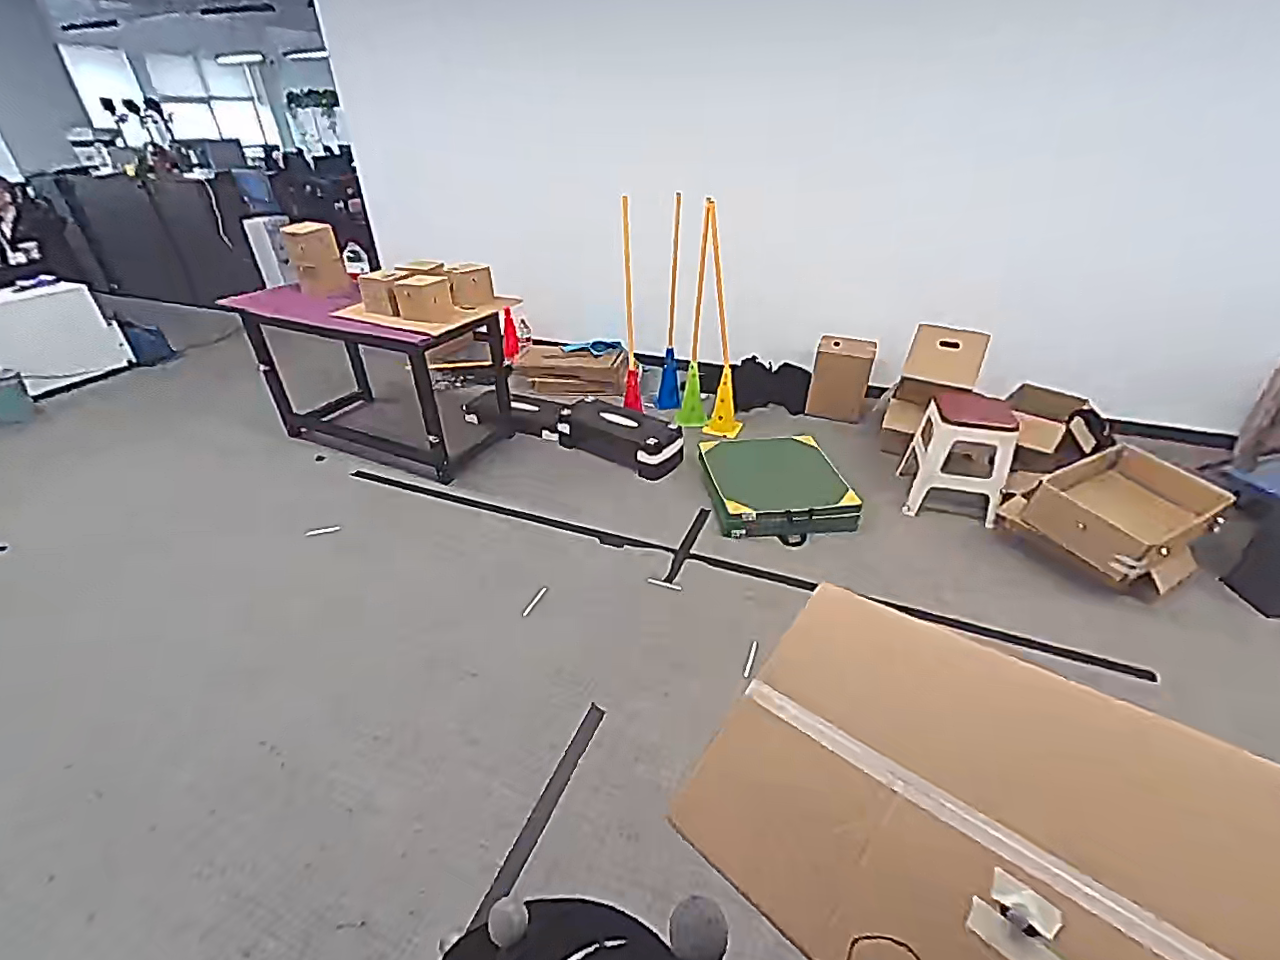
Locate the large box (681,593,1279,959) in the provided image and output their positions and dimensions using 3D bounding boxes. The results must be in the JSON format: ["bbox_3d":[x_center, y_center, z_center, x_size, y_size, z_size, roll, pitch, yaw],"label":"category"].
[{"bbox_3d":[0.322,0.386,0.555,0.408,0.320,0.320,19,58,45],"label":"large box"}]
